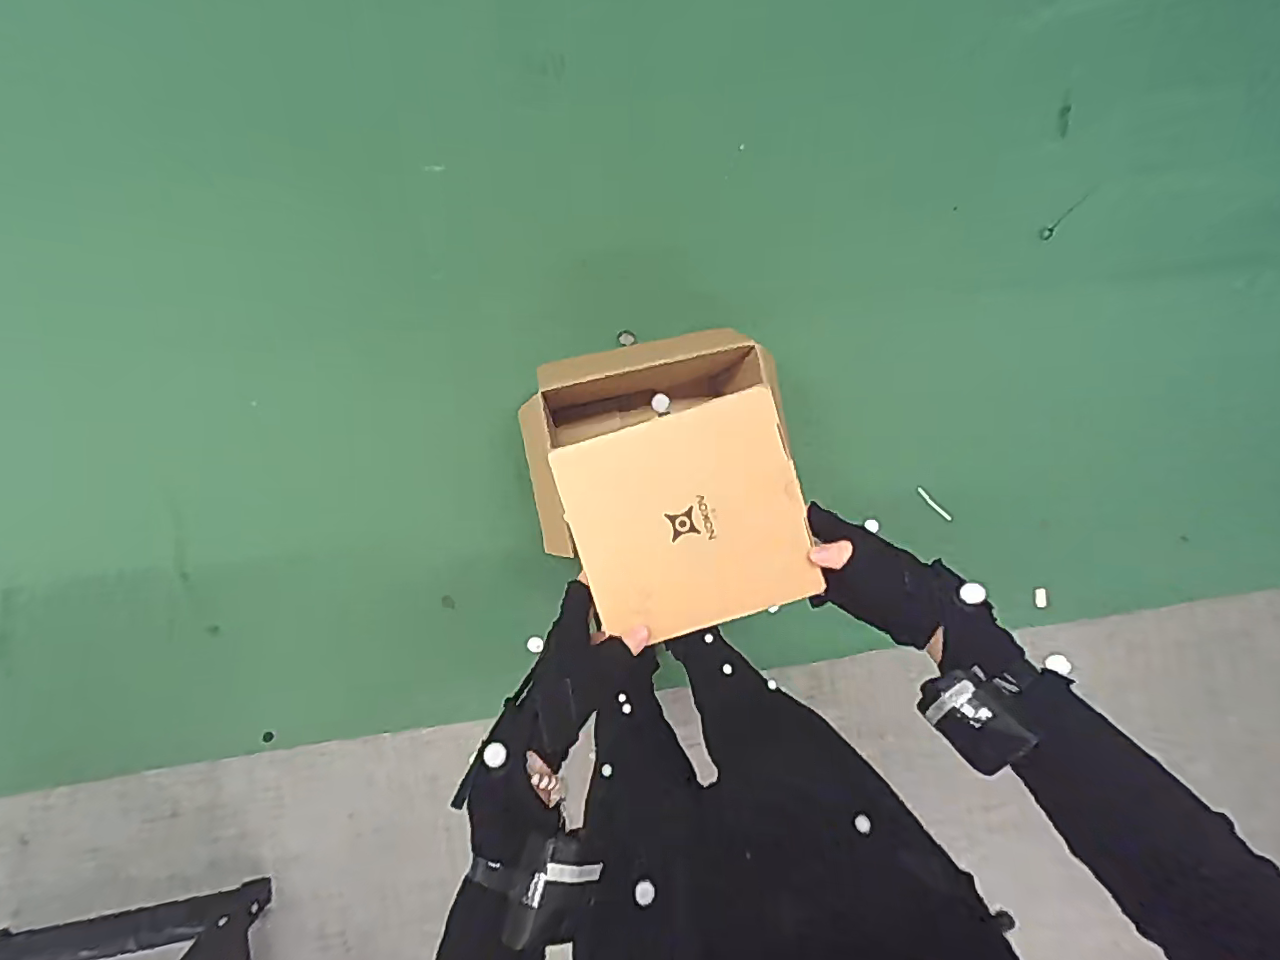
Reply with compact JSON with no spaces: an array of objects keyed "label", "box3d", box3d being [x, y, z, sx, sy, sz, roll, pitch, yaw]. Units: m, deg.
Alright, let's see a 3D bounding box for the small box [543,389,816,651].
[{"label":"small box","box3d":[0.031,0.027,0.490,0.179,0.176,0.168,-17,95,1]}]
